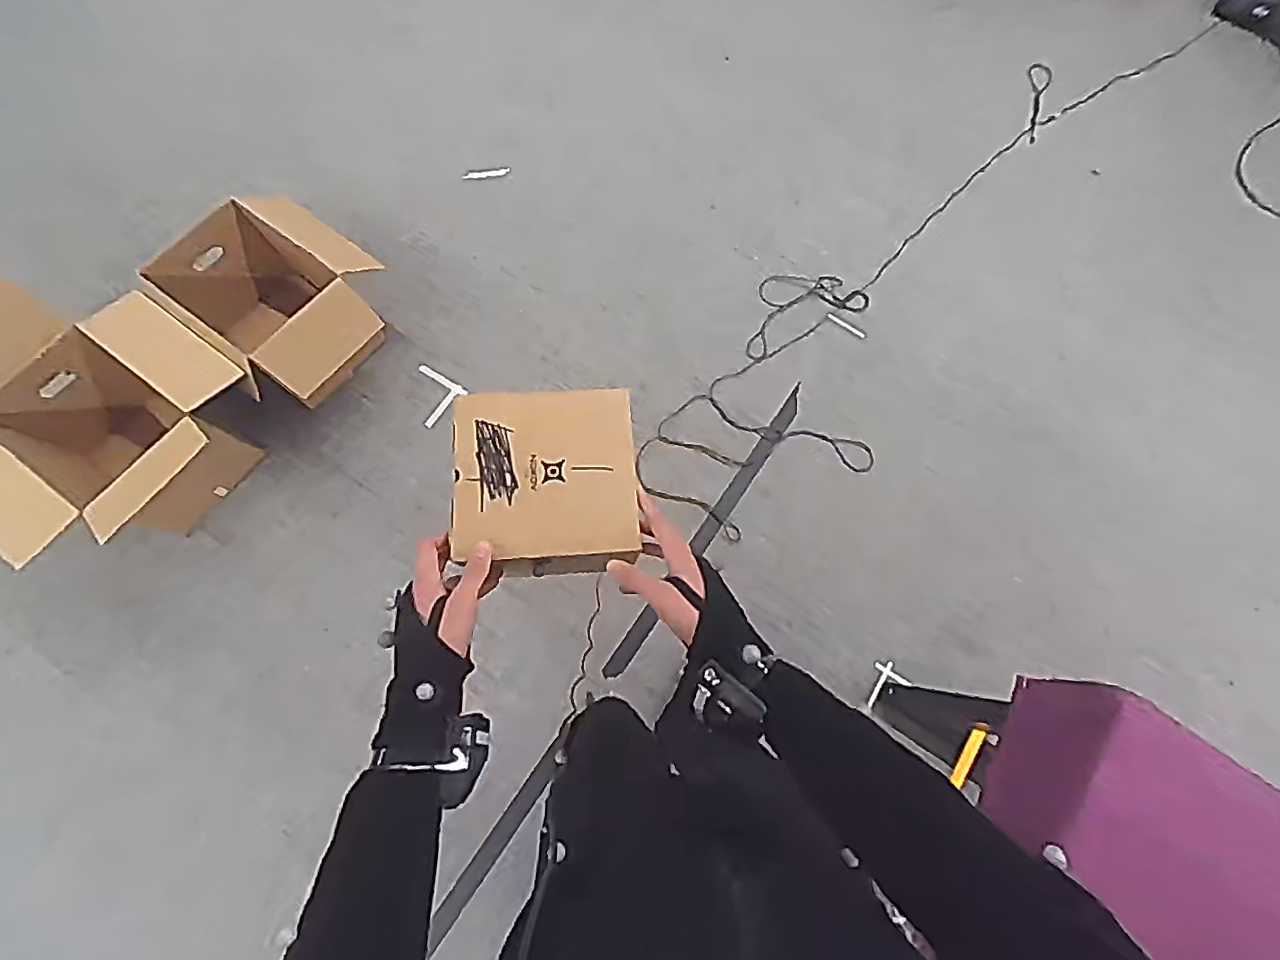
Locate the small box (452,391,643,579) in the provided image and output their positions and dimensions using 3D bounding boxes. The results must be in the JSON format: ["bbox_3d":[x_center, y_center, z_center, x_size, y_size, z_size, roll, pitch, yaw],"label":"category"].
[{"bbox_3d":[-0.093,0.015,0.590,0.179,0.176,0.168,-3,75,-5],"label":"small box"}]
